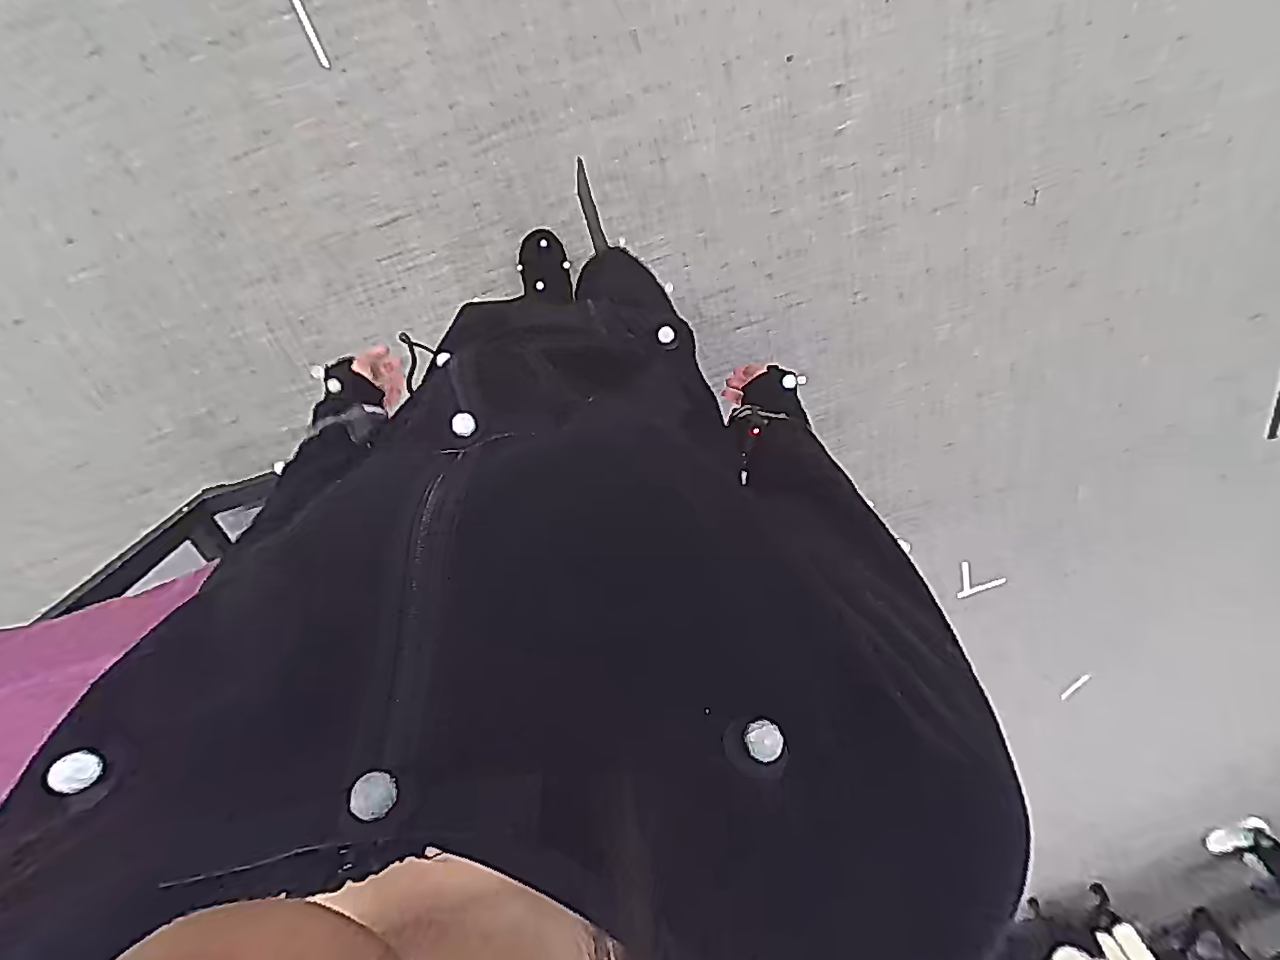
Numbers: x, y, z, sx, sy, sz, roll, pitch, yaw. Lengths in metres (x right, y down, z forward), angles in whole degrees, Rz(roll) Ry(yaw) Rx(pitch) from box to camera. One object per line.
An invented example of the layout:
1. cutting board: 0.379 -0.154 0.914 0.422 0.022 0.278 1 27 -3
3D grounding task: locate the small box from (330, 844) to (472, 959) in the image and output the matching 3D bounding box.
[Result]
1. small box: -0.422 0.801 0.981 0.179 0.176 0.168 -19 118 4
